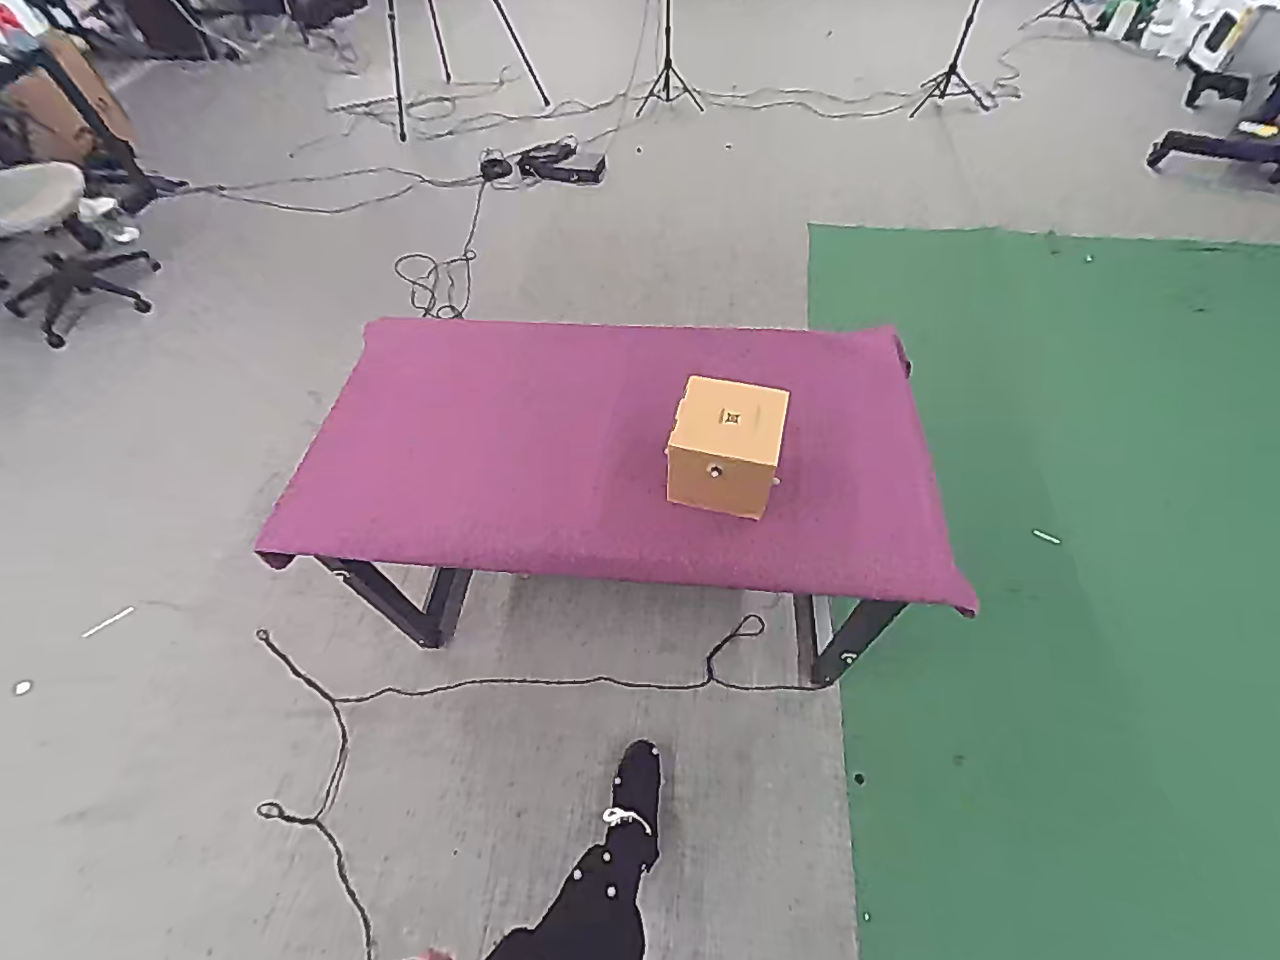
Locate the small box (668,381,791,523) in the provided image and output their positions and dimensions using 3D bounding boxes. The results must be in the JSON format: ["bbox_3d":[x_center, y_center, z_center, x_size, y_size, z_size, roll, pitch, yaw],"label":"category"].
[{"bbox_3d":[0.152,-0.045,0.947,0.179,0.176,0.168,13,56,11],"label":"small box"}]
